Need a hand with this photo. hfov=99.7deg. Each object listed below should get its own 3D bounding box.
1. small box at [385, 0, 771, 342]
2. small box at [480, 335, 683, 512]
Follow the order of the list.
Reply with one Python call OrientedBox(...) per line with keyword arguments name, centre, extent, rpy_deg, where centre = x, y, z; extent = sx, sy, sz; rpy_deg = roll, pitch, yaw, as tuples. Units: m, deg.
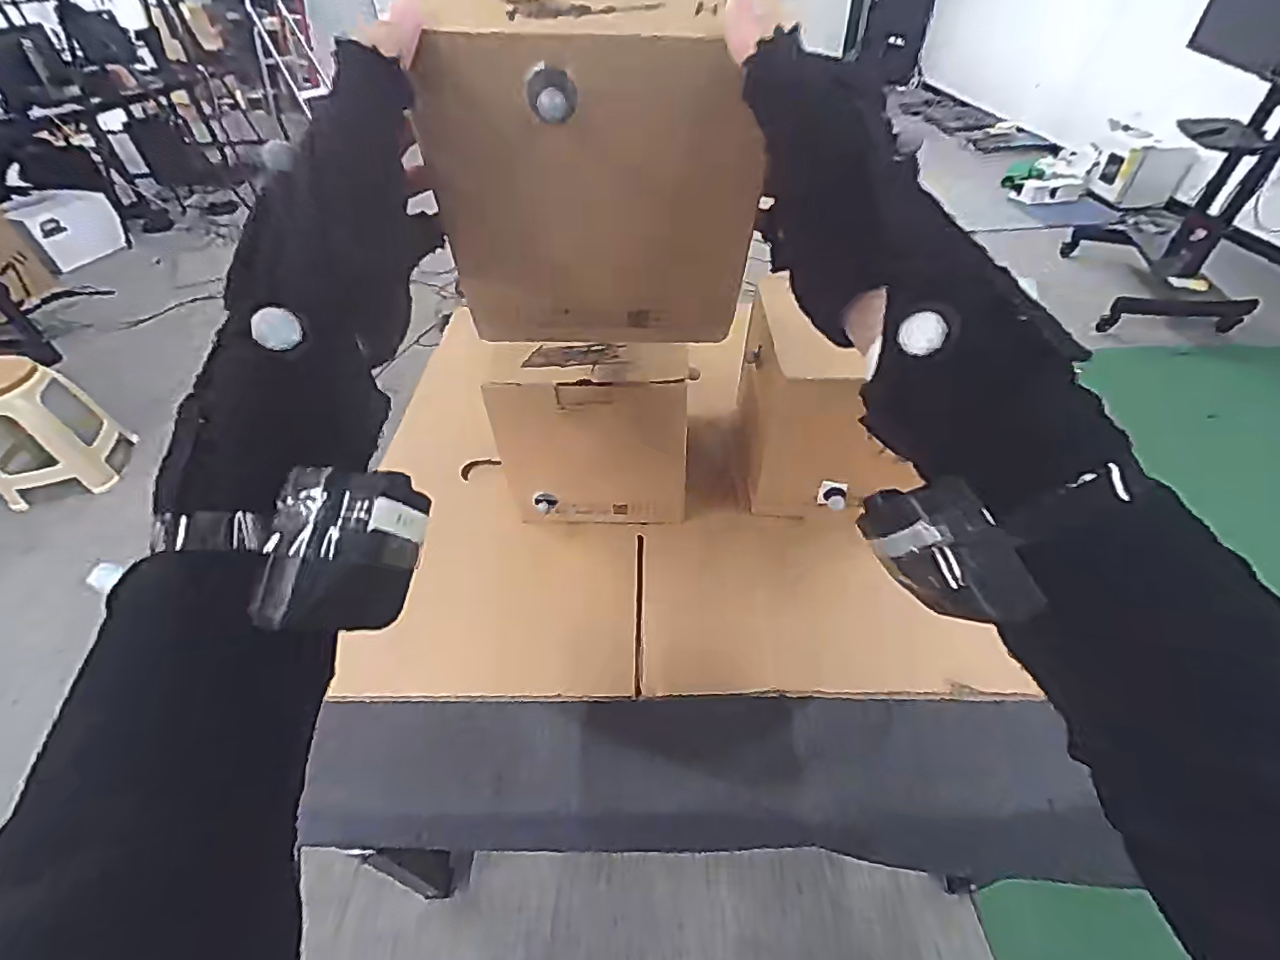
OrientedBox(name="small box", centre=(-0.028, -0.210, 0.337), extent=(0.168, 0.176, 0.179), rpy_deg=(0, 58, -1))
OrientedBox(name="small box", centre=(-0.040, -0.083, 0.539), extent=(0.168, 0.176, 0.179), rpy_deg=(0, 45, 3))
